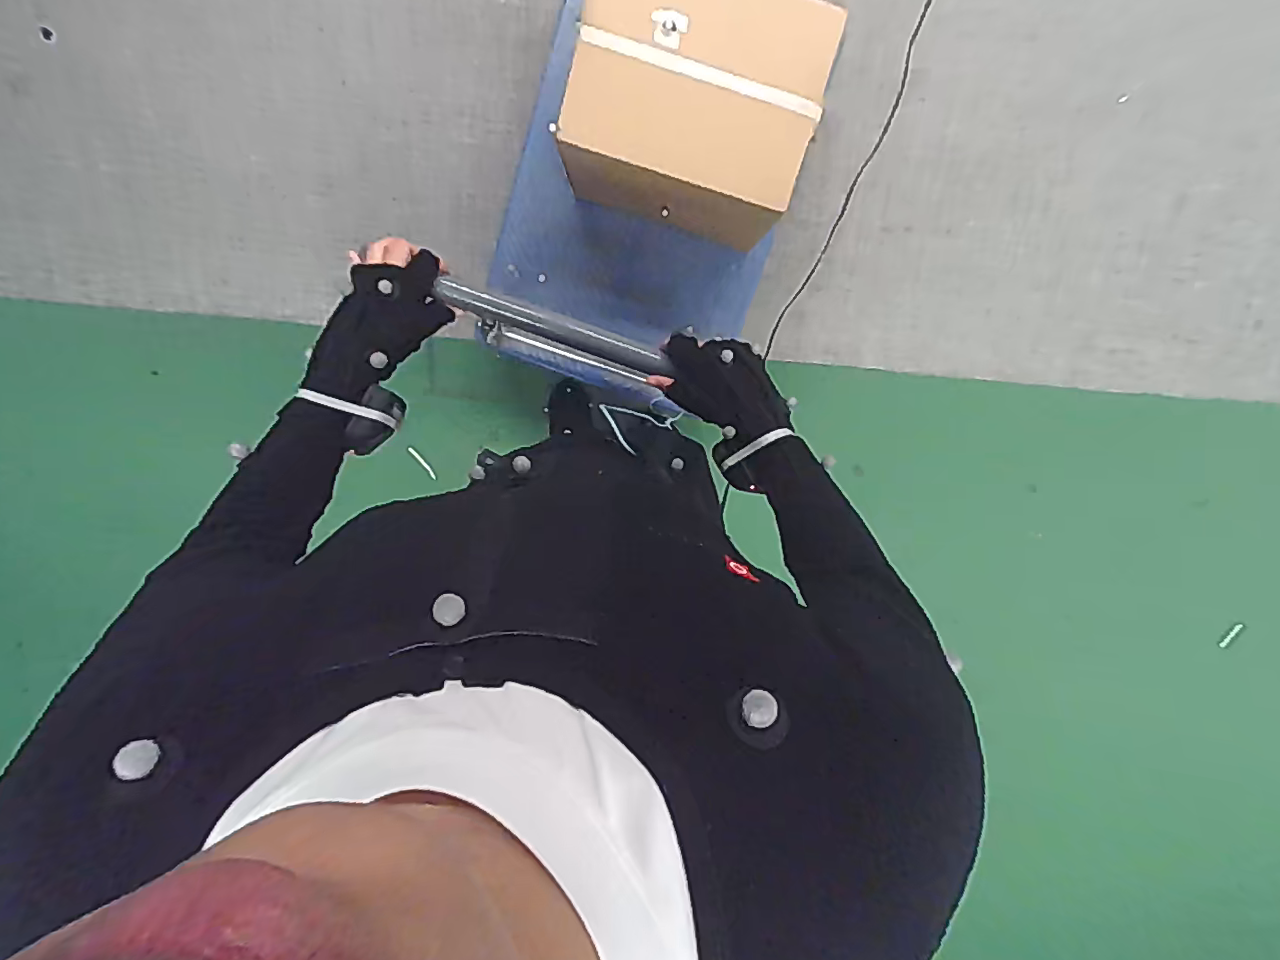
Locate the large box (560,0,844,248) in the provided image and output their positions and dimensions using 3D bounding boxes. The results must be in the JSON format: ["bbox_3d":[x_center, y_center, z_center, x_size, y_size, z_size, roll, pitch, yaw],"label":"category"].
[{"bbox_3d":[0.099,-0.675,1.024,0.408,0.320,0.320,16,100,-3],"label":"large box"}]
